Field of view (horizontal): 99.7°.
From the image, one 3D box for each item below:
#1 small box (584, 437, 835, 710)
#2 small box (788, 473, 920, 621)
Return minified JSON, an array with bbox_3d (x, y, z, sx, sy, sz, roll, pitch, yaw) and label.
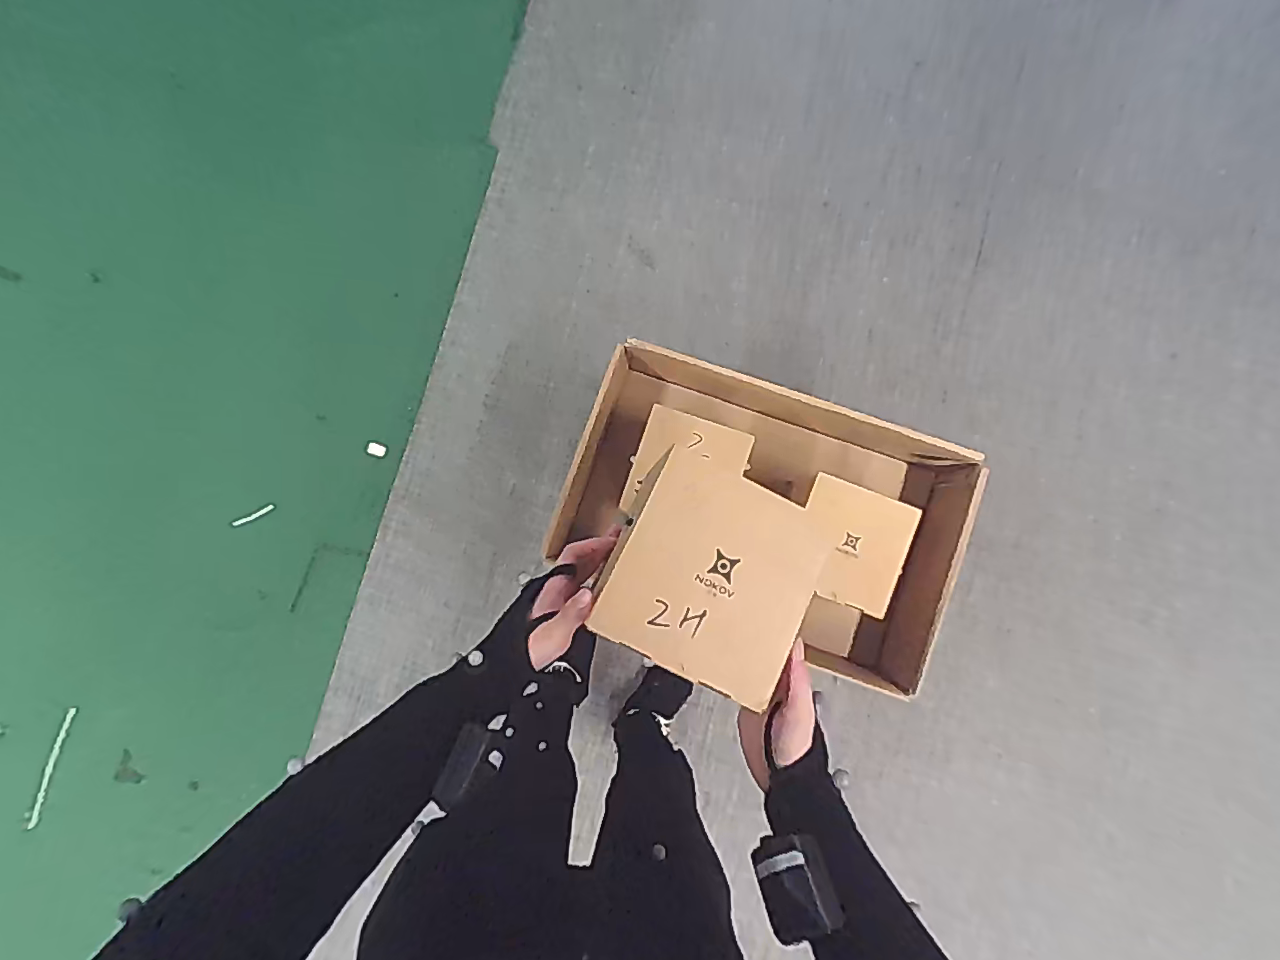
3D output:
[{"bbox_3d":[0.052,0.088,0.526,0.168,0.176,0.179,27,77,-2],"label":"small box"},{"bbox_3d":[0.312,0.104,0.876,0.168,0.176,0.179,21,87,4],"label":"small box"}]
